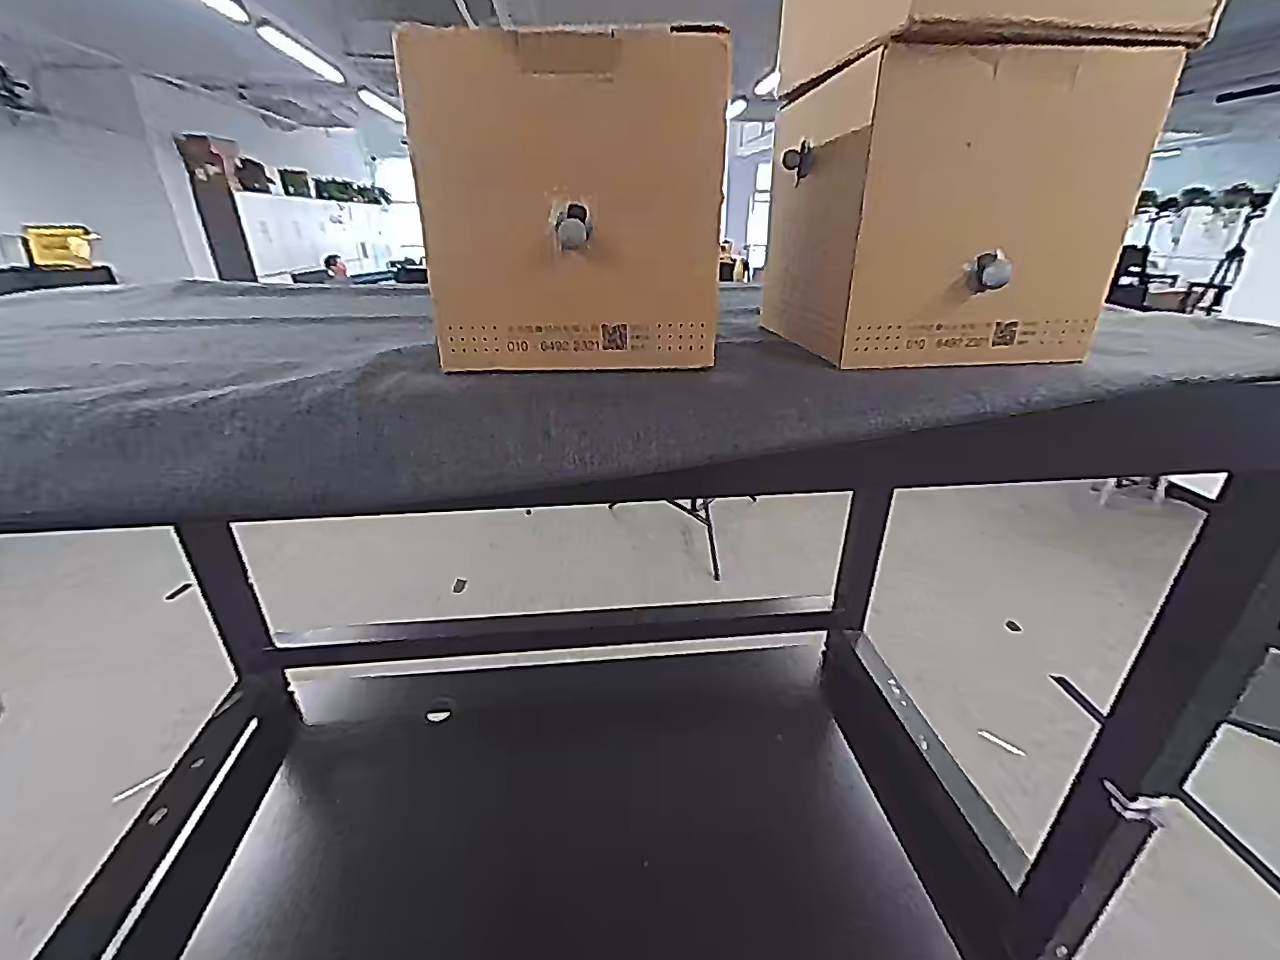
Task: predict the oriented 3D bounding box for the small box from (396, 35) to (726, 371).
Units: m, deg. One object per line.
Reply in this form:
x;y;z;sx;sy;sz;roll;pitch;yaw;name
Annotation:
-0.040;-0.174;0.370;0.168;0.176;0.179;-1;25;-3;small box

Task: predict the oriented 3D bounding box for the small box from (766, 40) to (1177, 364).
0.196;-0.183;0.387;0.168;0.176;0.179;-3;25;-4;small box

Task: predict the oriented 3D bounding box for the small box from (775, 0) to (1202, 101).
0.198;-0.330;0.307;0.179;0.176;0.168;-4;24;-9;small box
